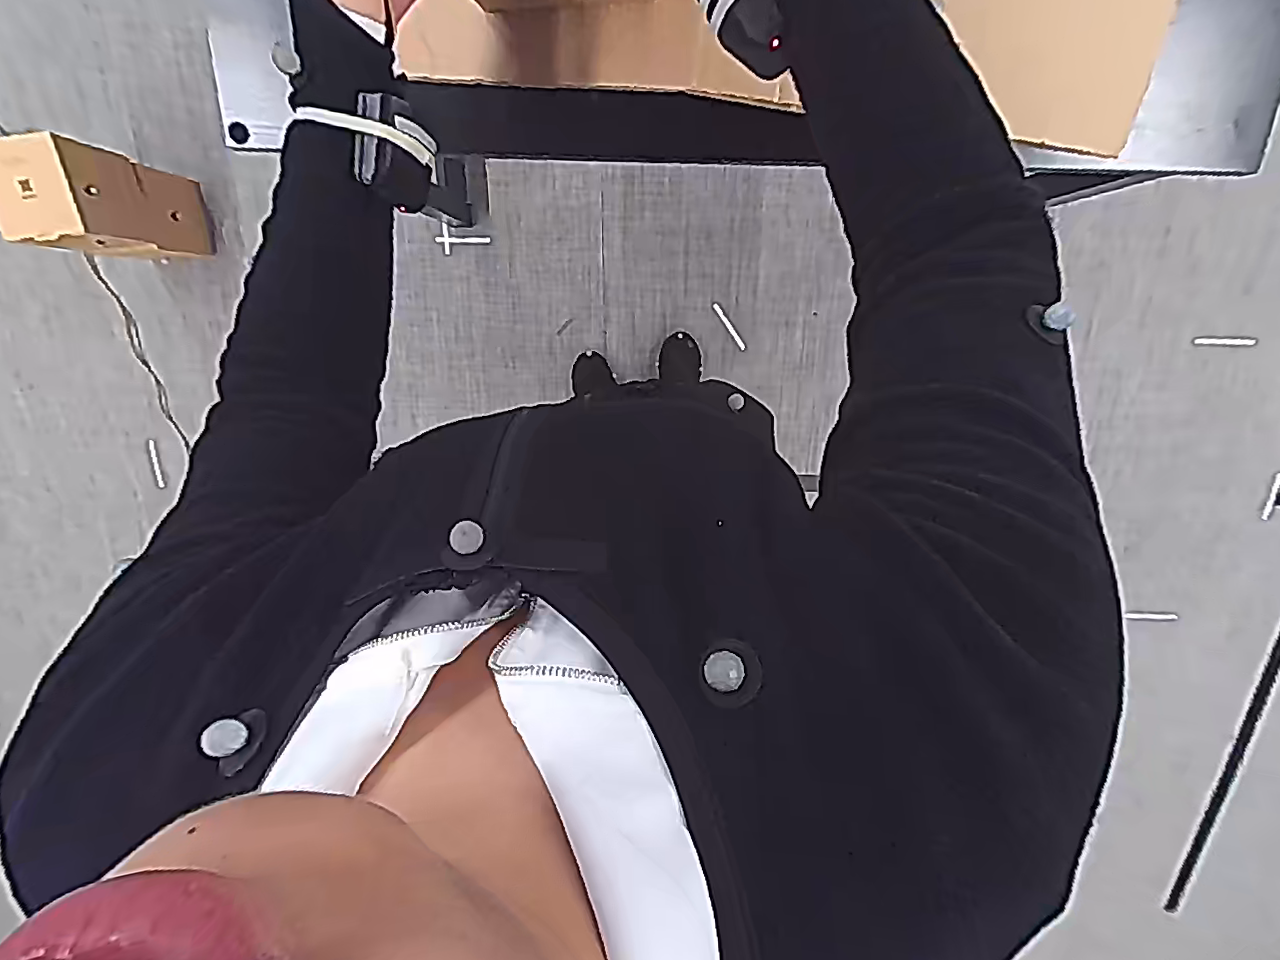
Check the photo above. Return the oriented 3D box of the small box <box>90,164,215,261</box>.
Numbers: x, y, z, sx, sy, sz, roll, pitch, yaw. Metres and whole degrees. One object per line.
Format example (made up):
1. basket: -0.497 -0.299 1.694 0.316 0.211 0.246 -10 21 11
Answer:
1. small box: -1.146 -0.614 1.256 0.168 0.176 0.179 -2 107 1

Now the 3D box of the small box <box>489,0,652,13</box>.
1. small box: -0.071 -0.467 0.364 0.168 0.176 0.179 7 106 12

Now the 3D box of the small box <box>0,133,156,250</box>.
1. small box: -1.149 -0.573 1.099 0.168 0.176 0.179 -5 105 1
